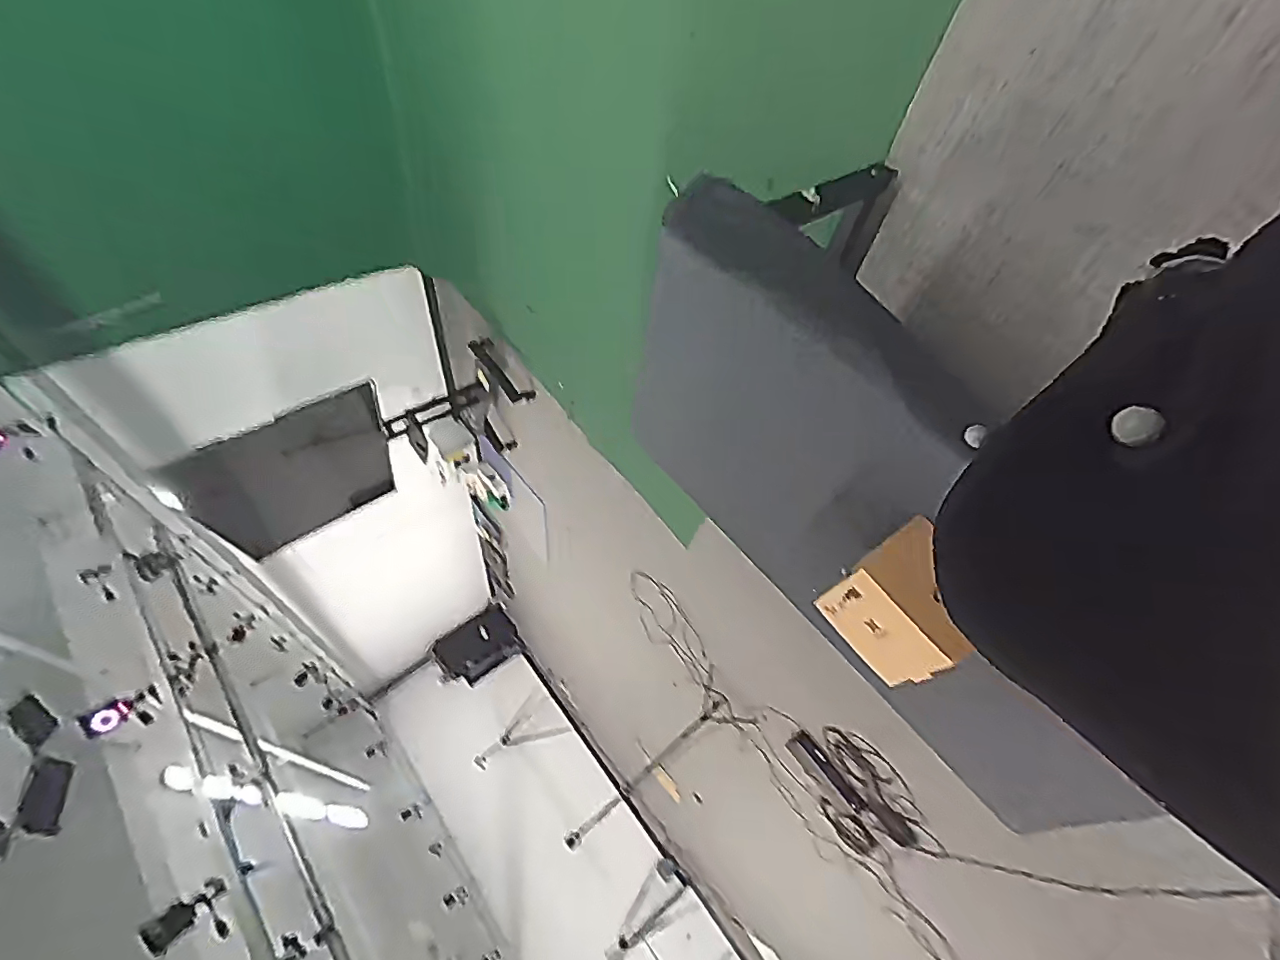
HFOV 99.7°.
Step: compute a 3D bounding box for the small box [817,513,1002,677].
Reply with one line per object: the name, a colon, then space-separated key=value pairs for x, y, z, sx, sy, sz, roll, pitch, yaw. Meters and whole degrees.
small box: x=0.438 y=0.187 z=0.885 sx=0.179 sy=0.176 sz=0.168 roll=49 pitch=153 yaw=18
